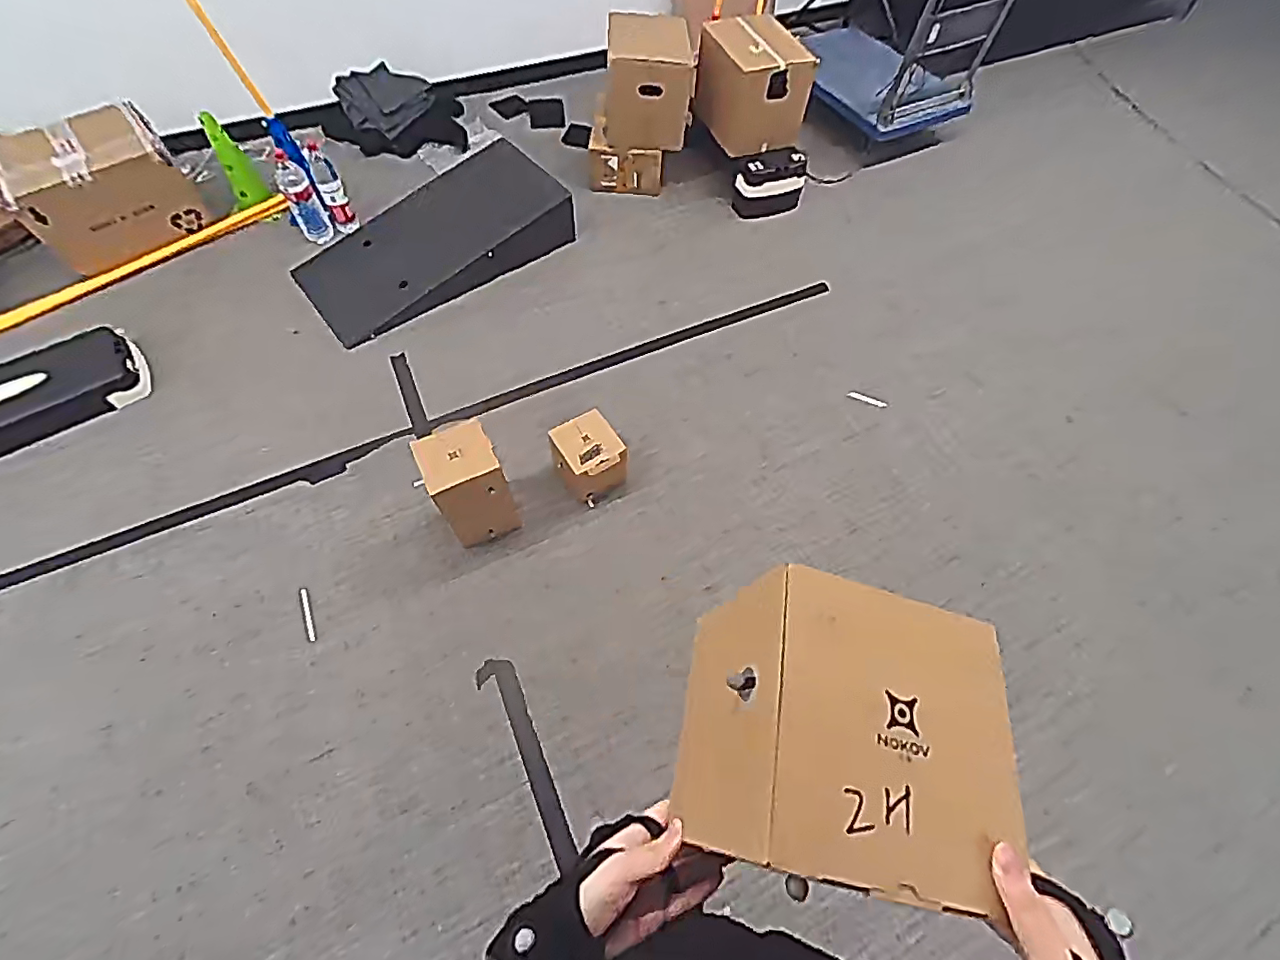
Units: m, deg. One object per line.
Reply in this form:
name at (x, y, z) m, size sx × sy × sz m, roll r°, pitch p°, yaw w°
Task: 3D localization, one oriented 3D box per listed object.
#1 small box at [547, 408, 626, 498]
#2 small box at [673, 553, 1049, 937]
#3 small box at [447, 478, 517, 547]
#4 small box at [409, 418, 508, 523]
small box at (-0.152, -0.070, 1.581) m, size 0.168 × 0.176 × 0.179 m, roll -28°, pitch 65°, yaw -17°
small box at (0.134, 0.180, 0.386) m, size 0.168 × 0.176 × 0.179 m, roll 19°, pitch 59°, yaw -8°
small box at (-0.449, 0.059, 1.494) m, size 0.179 × 0.176 × 0.168 m, roll -22°, pitch 63°, yaw -15°
small box at (-0.443, -0.020, 1.350) m, size 0.179 × 0.176 × 0.168 m, roll -24°, pitch 64°, yaw -14°
